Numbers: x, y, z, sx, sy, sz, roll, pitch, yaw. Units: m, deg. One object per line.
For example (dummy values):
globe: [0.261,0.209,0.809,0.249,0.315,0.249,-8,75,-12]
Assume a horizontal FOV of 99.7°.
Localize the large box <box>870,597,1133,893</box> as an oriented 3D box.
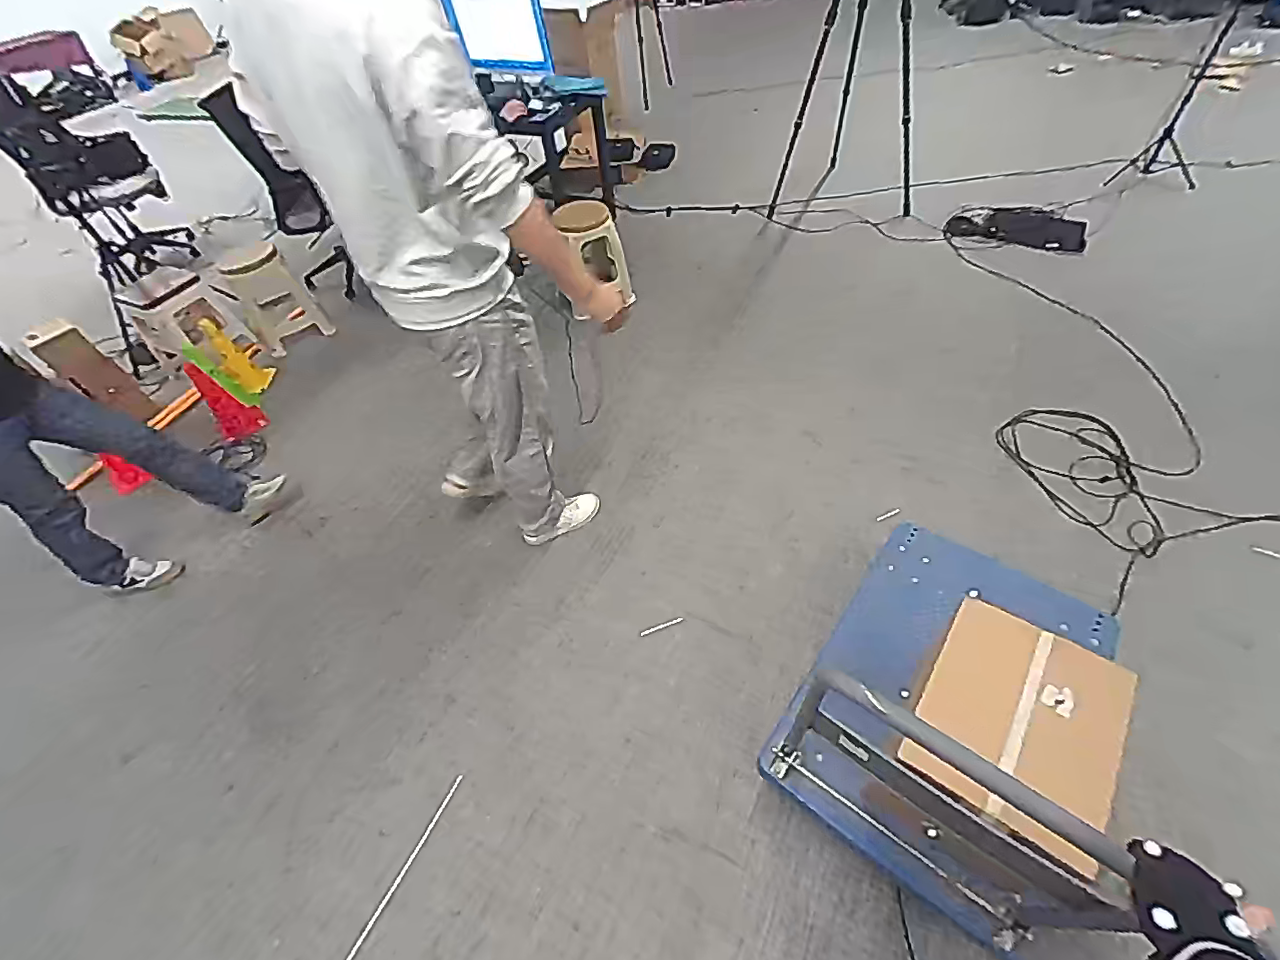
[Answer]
large box: [0.729,0.538,1.123,0.320,0.320,0.408,28,57,26]
